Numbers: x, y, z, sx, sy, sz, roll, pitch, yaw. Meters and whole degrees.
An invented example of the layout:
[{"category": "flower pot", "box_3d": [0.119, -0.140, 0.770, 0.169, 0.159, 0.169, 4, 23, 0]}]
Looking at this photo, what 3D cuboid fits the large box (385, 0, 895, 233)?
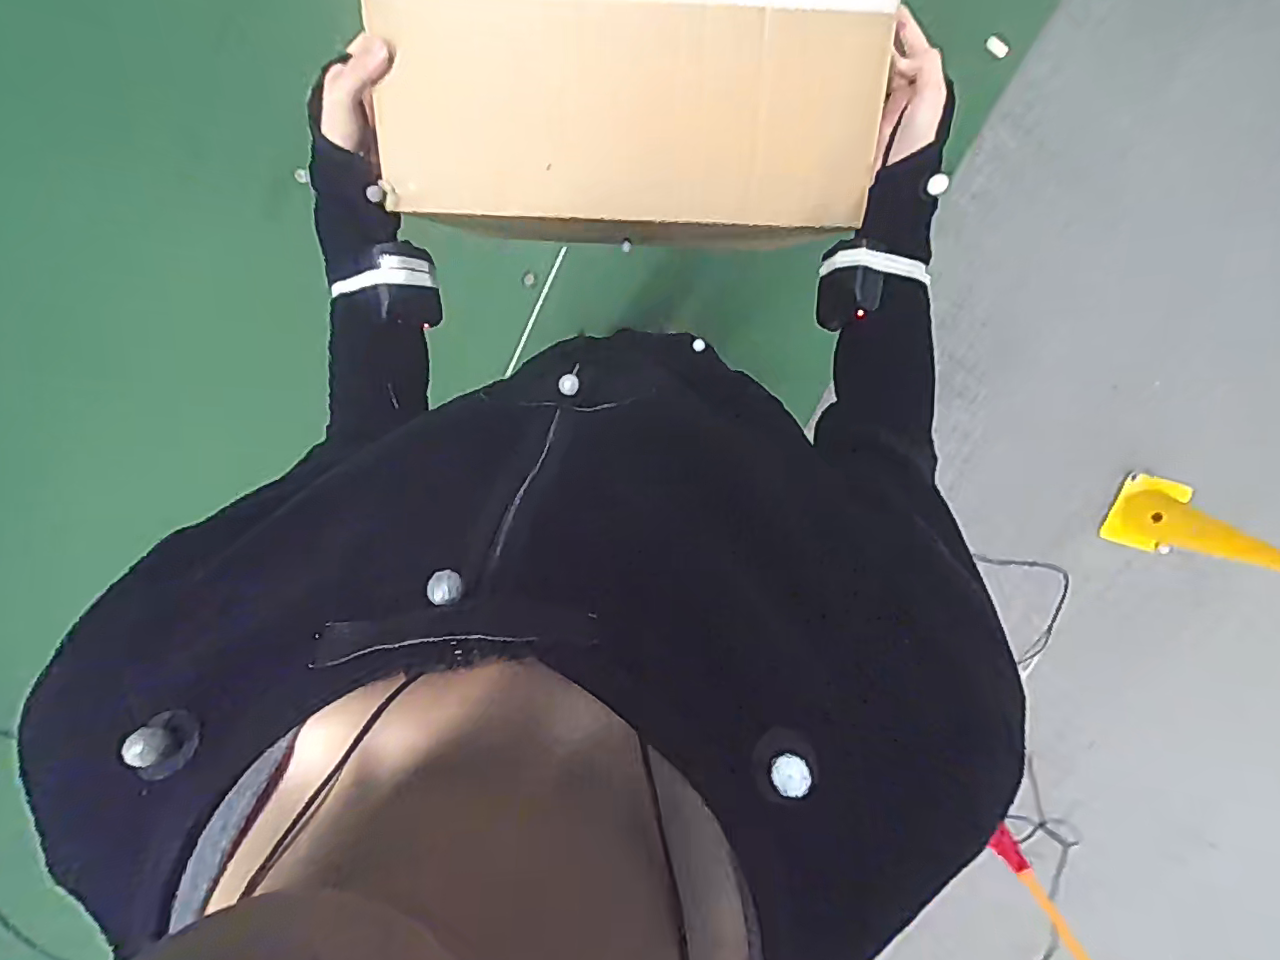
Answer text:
[{"category": "large box", "box_3d": [0.002, -0.434, 0.554, 0.408, 0.320, 0.320, 2, 110, -2]}]
